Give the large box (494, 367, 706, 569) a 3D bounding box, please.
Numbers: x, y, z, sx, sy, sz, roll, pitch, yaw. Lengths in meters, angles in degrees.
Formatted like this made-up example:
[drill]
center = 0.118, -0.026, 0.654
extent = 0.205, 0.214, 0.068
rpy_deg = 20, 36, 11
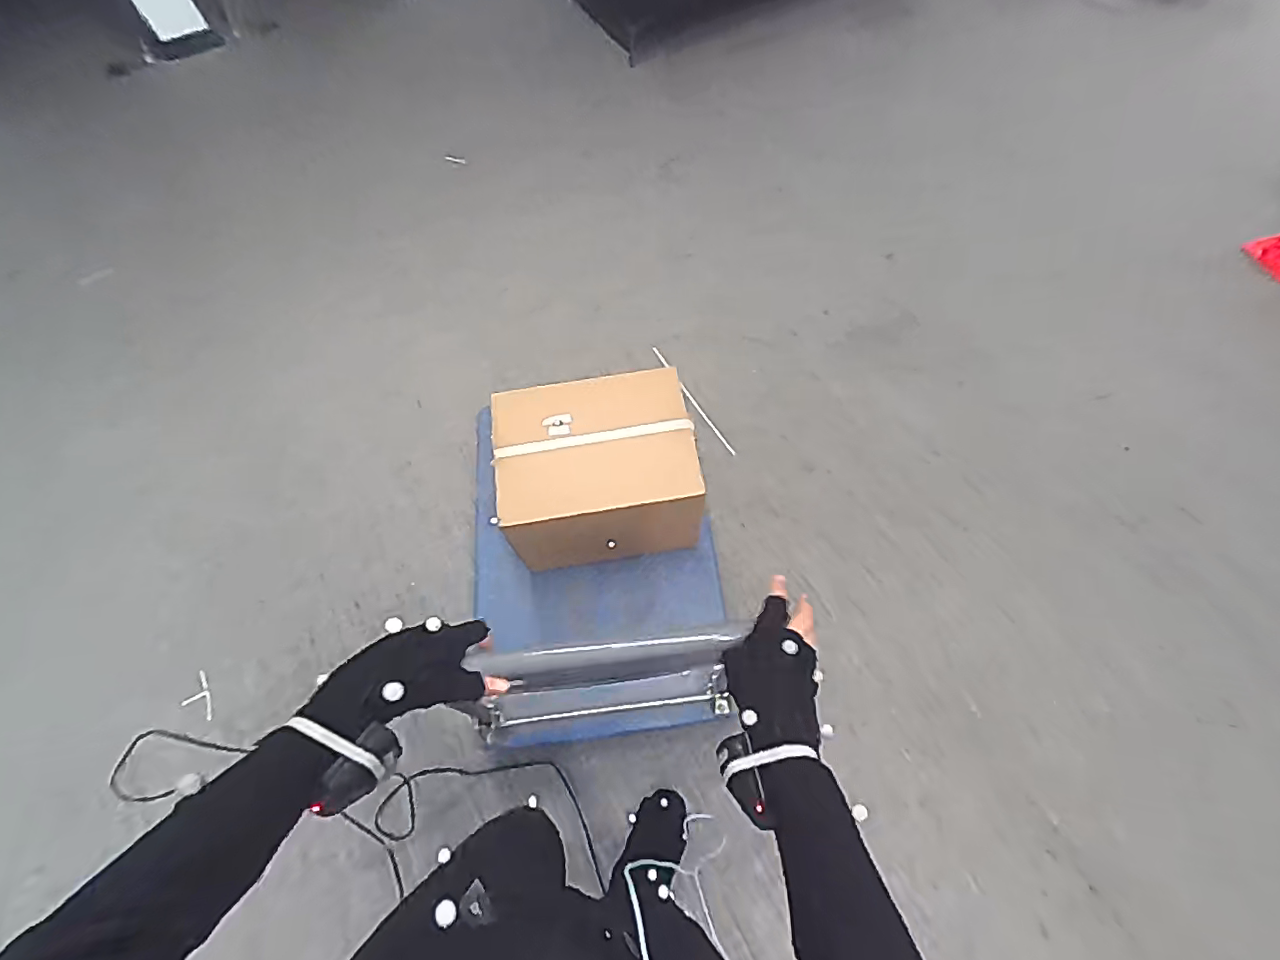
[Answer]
[large box]
center = -0.084, -0.013, 1.236
extent = 0.408, 0.320, 0.320
rpy_deg = -10, 63, -1
